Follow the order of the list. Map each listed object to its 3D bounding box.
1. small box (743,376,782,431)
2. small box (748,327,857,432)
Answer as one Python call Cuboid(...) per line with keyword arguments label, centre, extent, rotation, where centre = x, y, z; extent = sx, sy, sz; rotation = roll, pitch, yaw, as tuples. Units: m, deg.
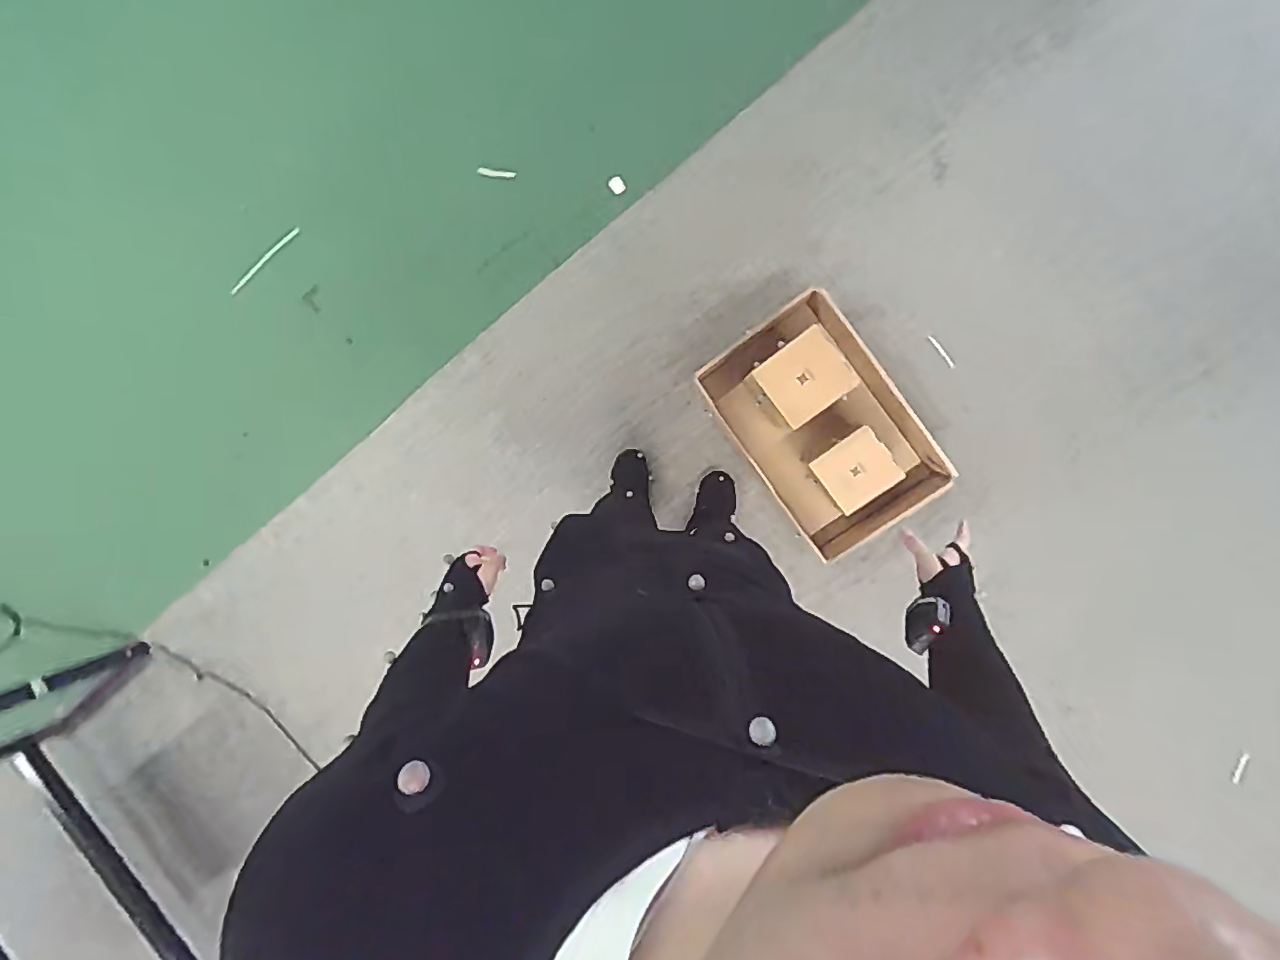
Cuboid(label="small box", centre=(0.388, -0.243, 1.427), extent=(0.179, 0.176, 0.168), rotation=(-36, 90, 8))
Cuboid(label="small box", centre=(0.370, -0.225, 1.267), extent=(0.179, 0.176, 0.168), rotation=(-37, 89, 9))
